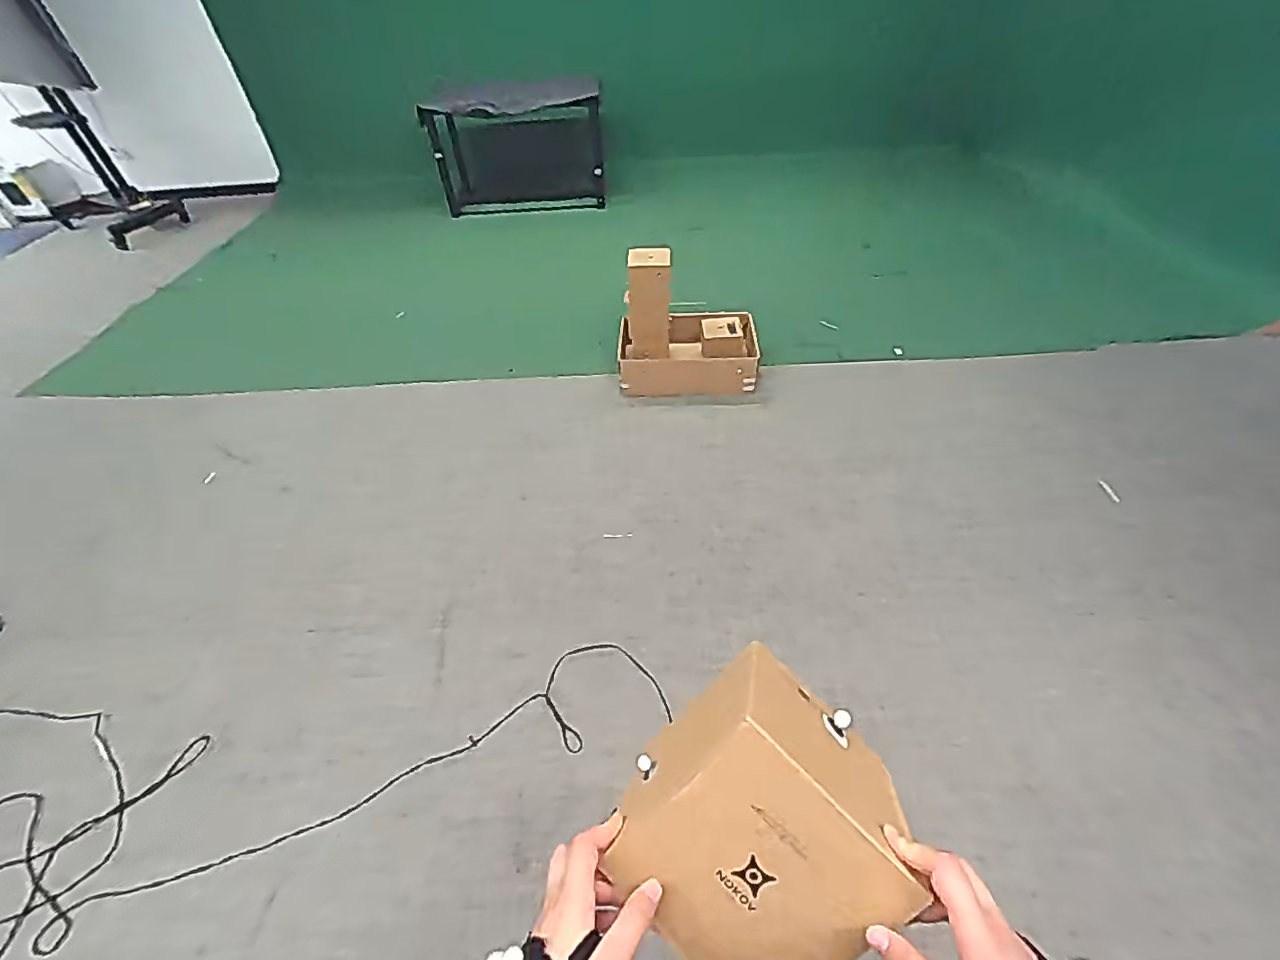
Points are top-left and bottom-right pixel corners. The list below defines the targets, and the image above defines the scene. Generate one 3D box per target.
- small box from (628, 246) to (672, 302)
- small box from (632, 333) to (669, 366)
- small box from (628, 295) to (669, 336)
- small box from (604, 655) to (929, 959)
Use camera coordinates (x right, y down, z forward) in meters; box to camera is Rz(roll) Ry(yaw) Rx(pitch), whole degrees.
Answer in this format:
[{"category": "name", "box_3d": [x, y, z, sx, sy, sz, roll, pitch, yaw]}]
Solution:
[{"category": "small box", "box_3d": [0.043, -0.863, 2.273, 0.179, 0.176, 0.168, -1, 46, 3]}, {"category": "small box", "box_3d": [0.053, -0.646, 2.520, 0.168, 0.176, 0.179, -1, 47, 2]}, {"category": "small box", "box_3d": [0.040, -0.751, 2.395, 0.179, 0.176, 0.168, 0, 47, 2]}, {"category": "small box", "box_3d": [0.103, 0.289, 0.467, 0.168, 0.176, 0.179, 43, 100, 8]}]
